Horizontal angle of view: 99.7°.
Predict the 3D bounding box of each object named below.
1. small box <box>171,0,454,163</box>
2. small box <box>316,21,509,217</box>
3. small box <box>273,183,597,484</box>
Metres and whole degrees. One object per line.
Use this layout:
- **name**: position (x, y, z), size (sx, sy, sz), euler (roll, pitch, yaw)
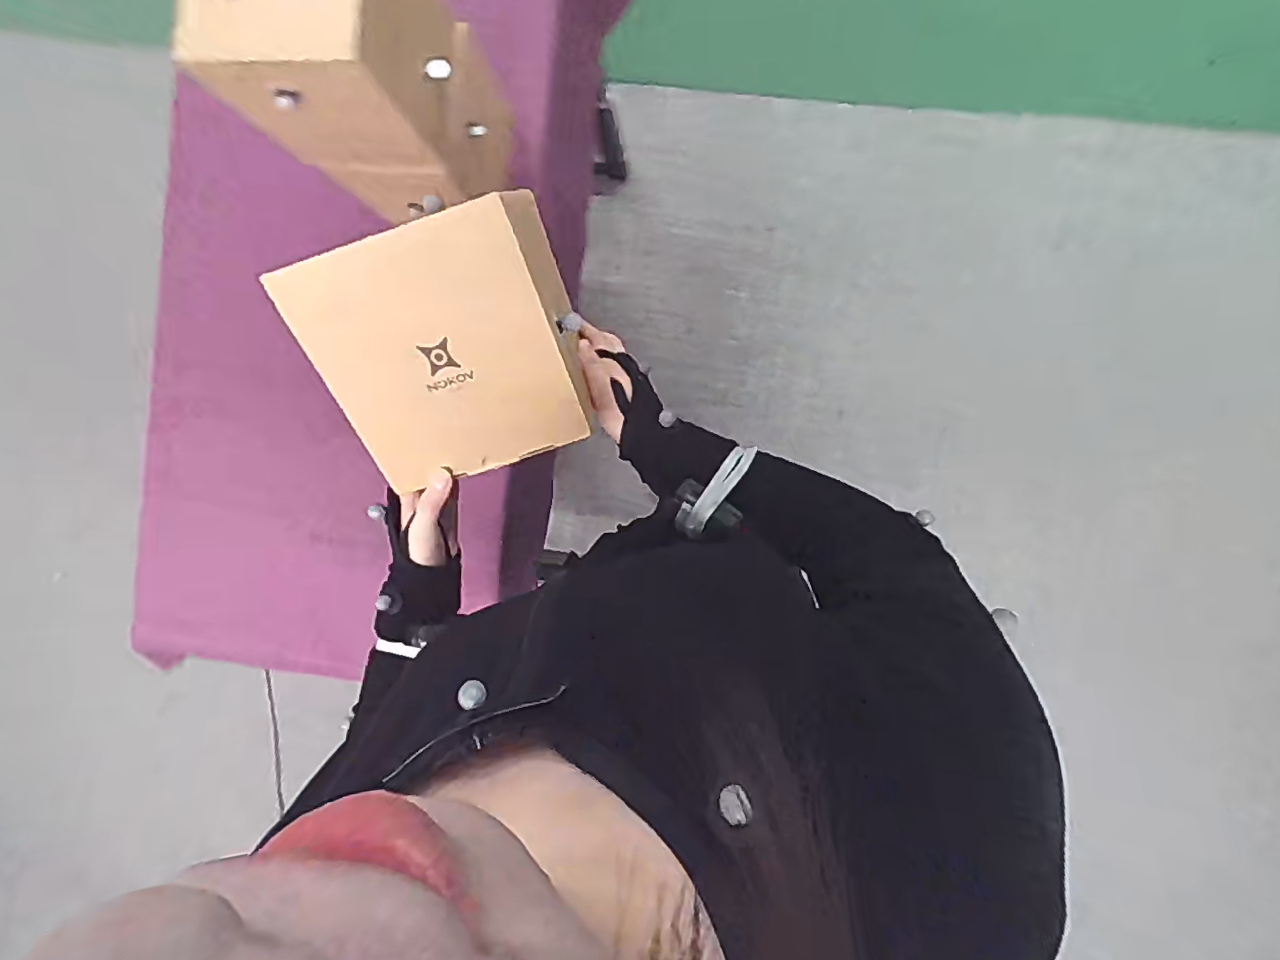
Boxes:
- **small box**: position (-0.314, -0.448, 0.547), size (0.179, 0.176, 0.168), euler (5, 92, 7)
- **small box**: position (-0.285, -0.450, 0.709), size (0.168, 0.176, 0.179), euler (8, 92, 7)
- **small box**: position (-0.139, -0.127, 0.444), size (0.168, 0.176, 0.179), euler (-15, 121, 4)
